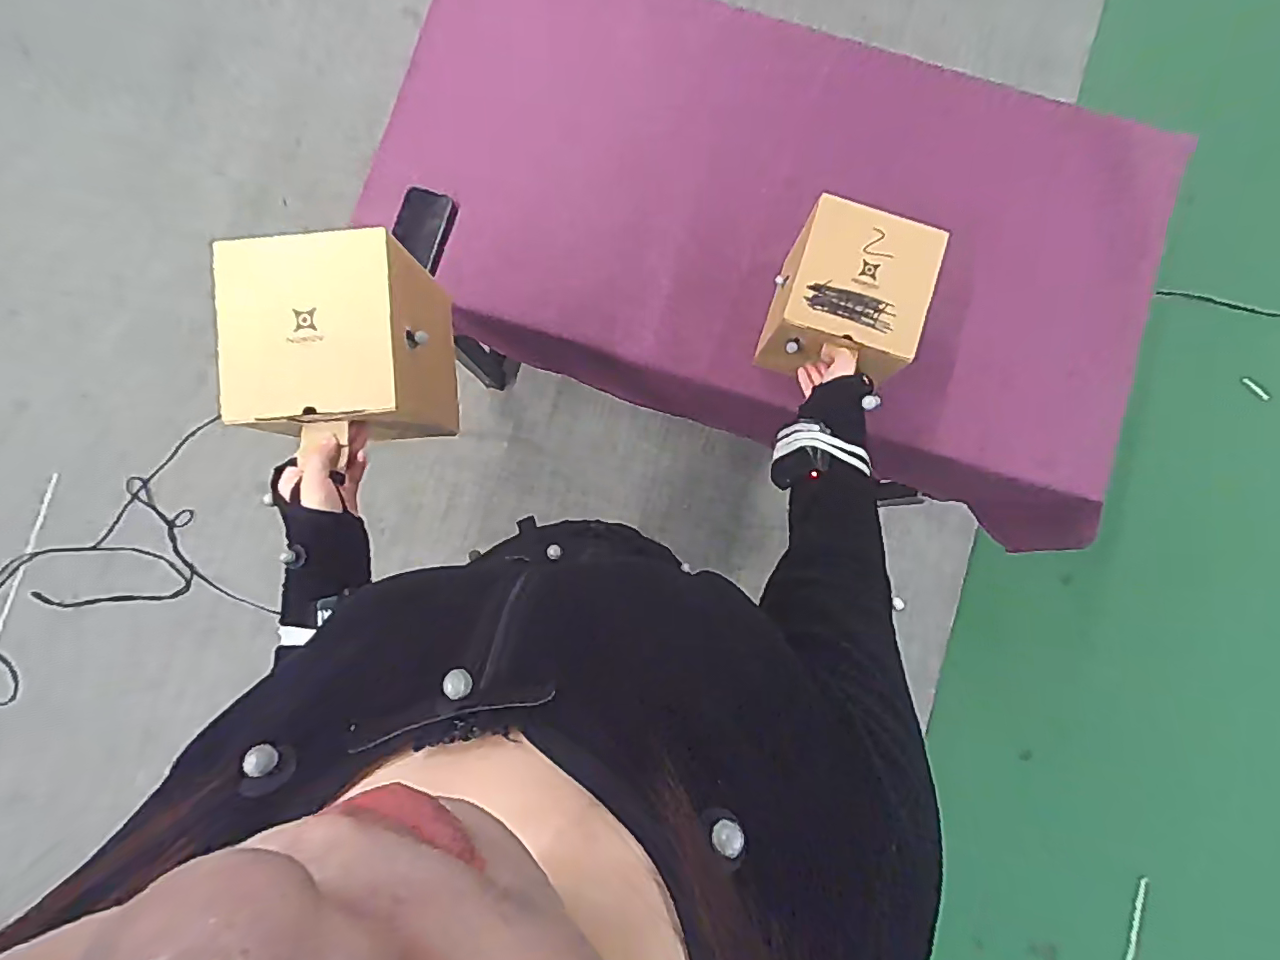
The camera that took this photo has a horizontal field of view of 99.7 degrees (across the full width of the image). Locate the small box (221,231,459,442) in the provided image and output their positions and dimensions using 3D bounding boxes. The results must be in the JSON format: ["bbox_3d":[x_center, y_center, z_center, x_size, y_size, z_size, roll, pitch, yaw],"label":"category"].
[{"bbox_3d":[-0.306,-0.141,0.583,0.168,0.176,0.179,-4,89,0],"label":"small box"}]
